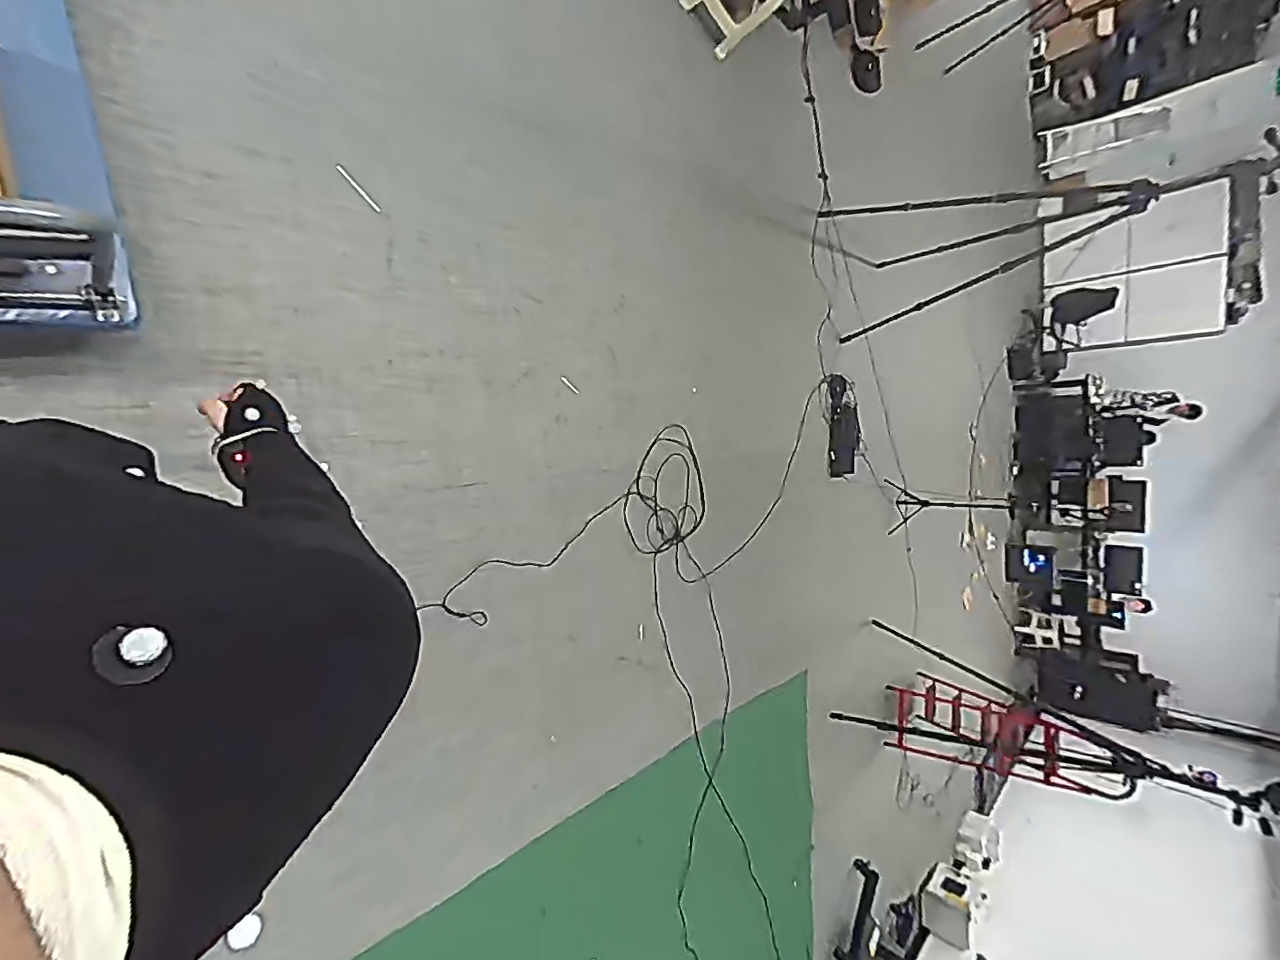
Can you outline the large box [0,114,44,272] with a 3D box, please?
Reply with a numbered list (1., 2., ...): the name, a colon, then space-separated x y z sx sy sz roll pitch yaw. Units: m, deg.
1. large box: -1.142 -0.543 0.765 0.320 0.320 0.408 -14 100 -42
